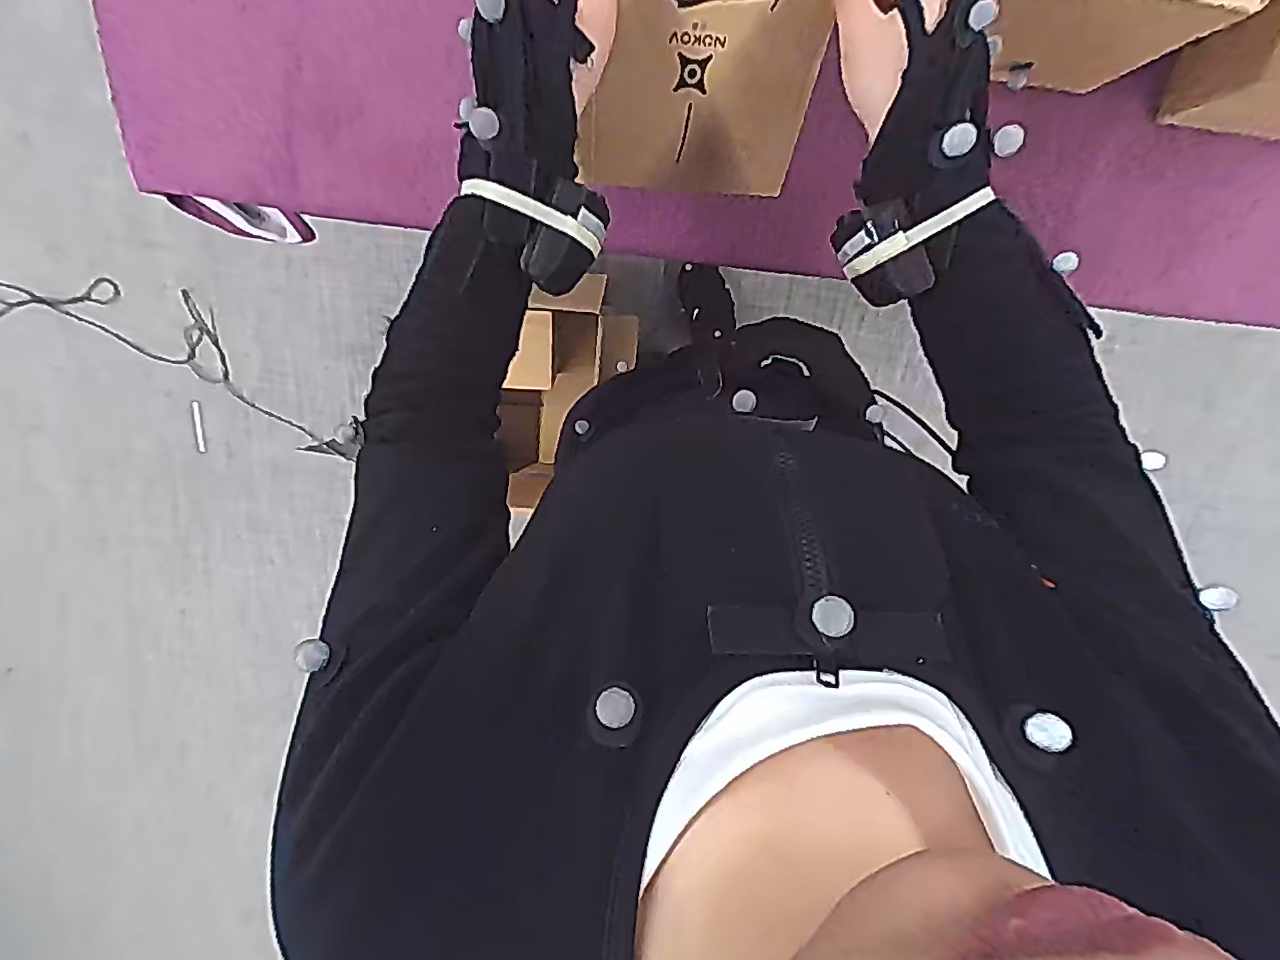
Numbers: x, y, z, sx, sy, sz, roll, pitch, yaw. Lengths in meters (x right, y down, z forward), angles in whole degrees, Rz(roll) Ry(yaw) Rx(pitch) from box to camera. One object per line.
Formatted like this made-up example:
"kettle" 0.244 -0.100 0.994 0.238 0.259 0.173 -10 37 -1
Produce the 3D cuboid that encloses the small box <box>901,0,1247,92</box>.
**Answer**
"small box" 0.331 -0.420 0.395 0.179 0.176 0.168 9 109 0

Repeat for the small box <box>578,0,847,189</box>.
"small box" 0.039 -0.346 0.392 0.168 0.176 0.179 1 147 -6

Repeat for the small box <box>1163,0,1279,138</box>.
"small box" 0.572 -0.373 0.400 0.179 0.176 0.168 9 108 0
